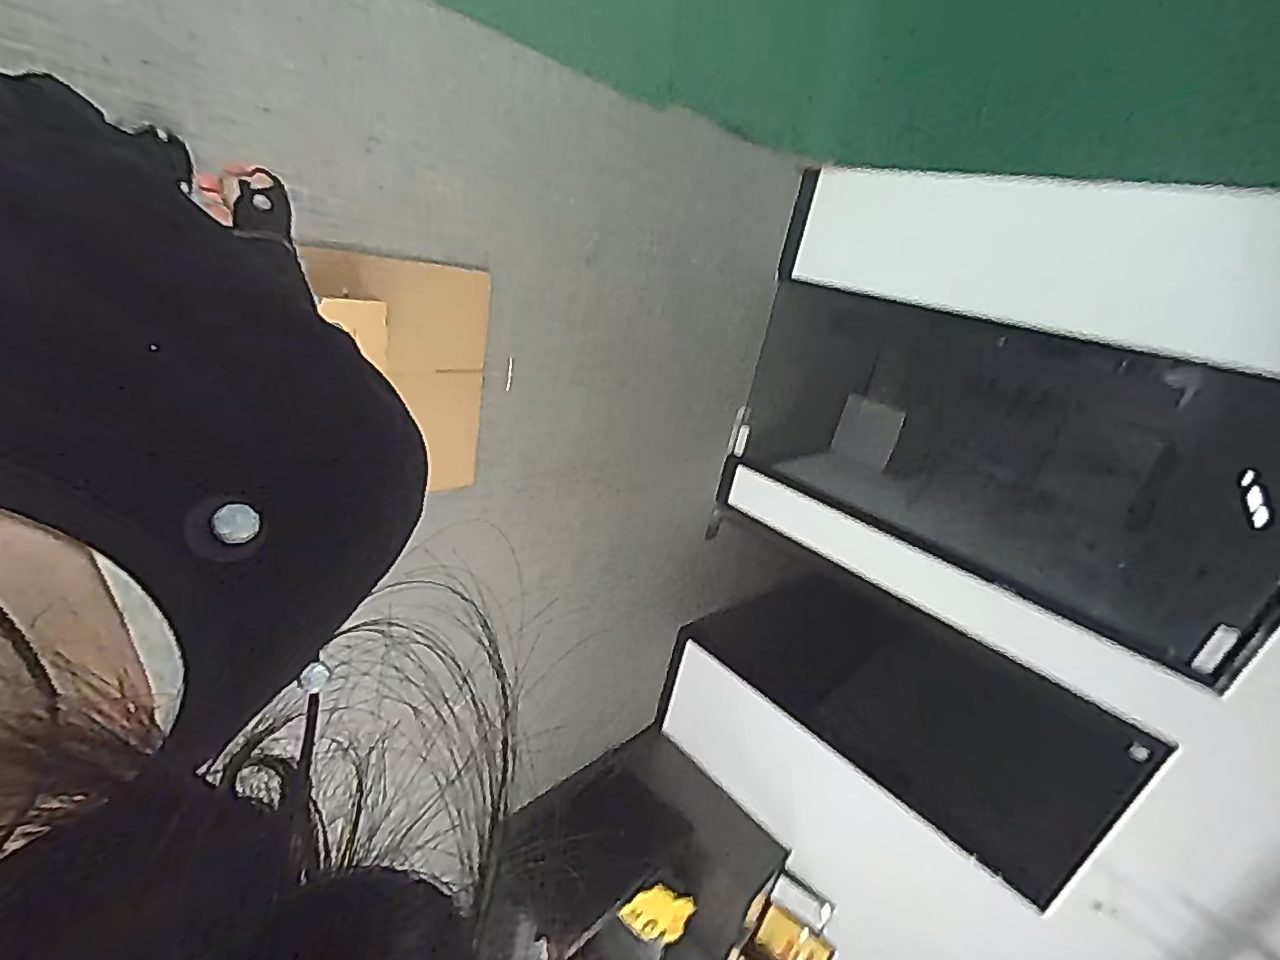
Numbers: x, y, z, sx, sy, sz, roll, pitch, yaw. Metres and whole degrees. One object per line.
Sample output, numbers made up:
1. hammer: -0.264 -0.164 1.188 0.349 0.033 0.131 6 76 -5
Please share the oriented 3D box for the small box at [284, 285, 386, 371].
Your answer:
1. small box: -0.725 -0.361 1.284 0.179 0.176 0.168 -14 124 -44
